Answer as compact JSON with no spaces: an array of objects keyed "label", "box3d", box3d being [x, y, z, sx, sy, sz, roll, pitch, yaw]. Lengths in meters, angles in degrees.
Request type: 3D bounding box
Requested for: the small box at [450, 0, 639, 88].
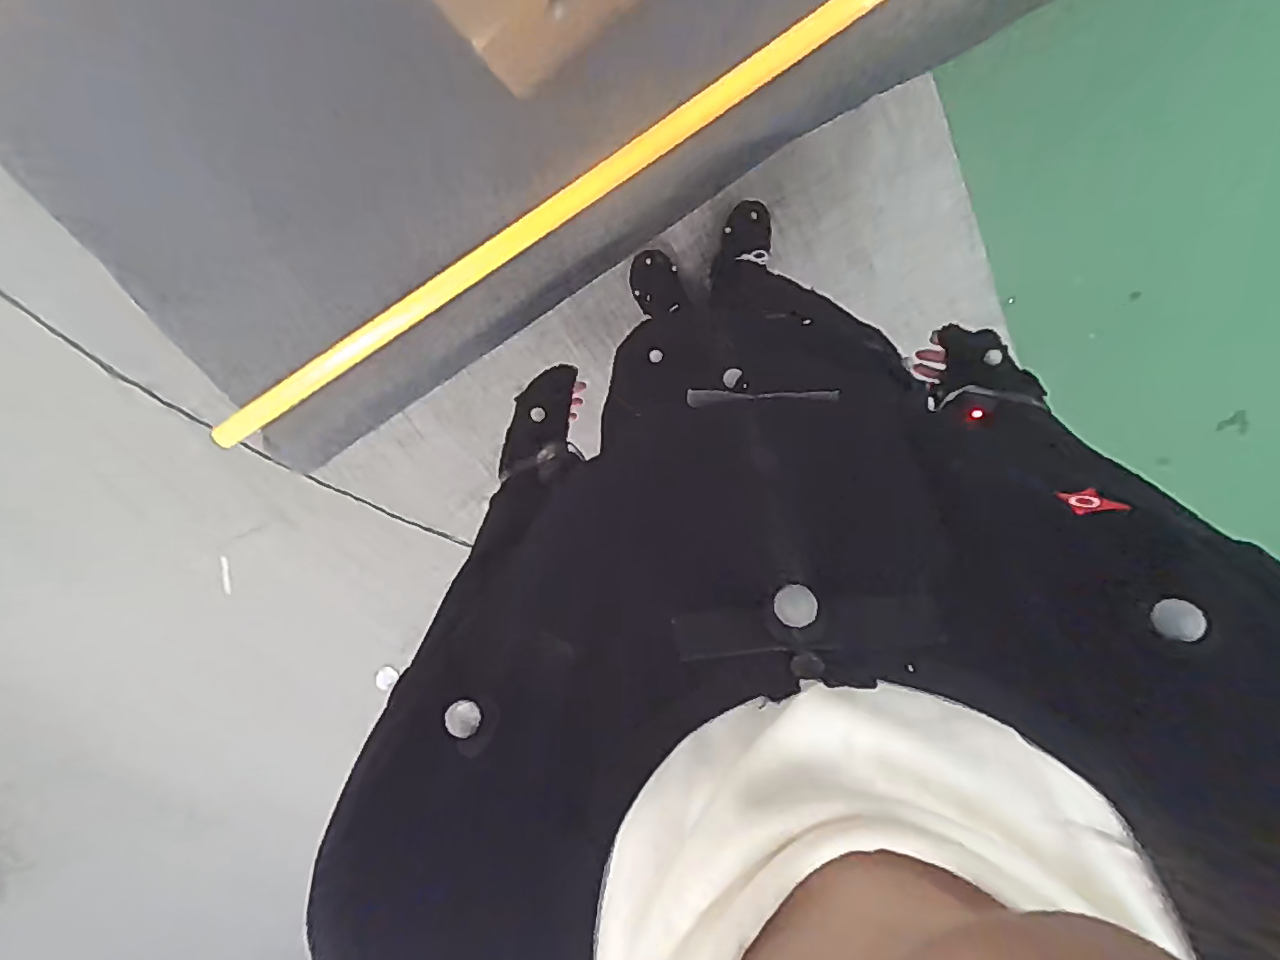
[{"label":"small box","box3d":[-0.097,-0.451,0.412,0.168,0.176,0.179,-31,111,14]}]
